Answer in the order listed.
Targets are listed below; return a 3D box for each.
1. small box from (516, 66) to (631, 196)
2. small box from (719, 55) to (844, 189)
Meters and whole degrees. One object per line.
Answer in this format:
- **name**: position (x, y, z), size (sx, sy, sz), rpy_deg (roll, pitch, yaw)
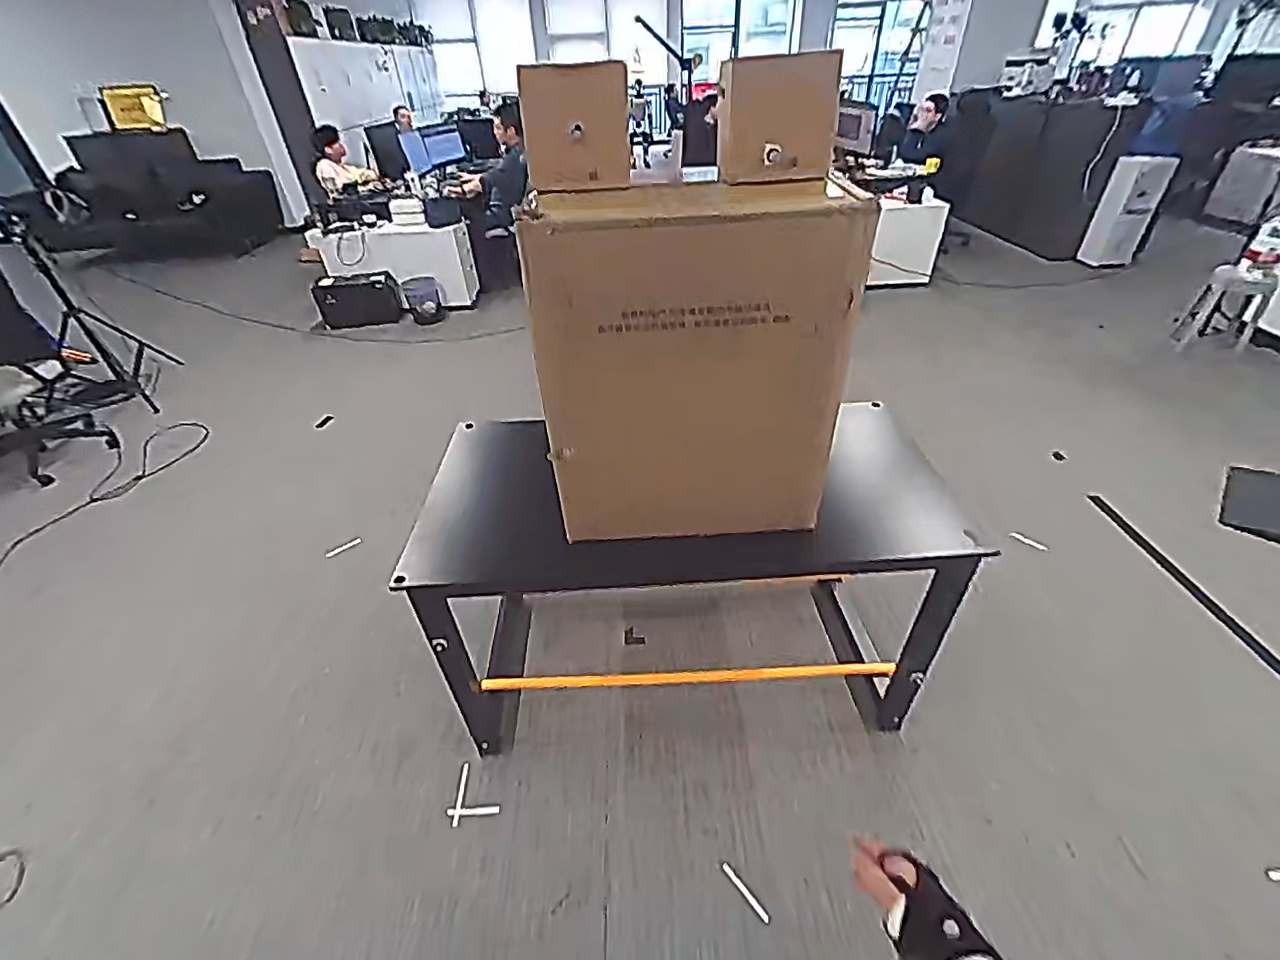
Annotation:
- **small box**: position (-0.106, -0.580, 0.903), size (0.168, 0.176, 0.179), rpy_deg (-5, 37, -4)
- **small box**: position (0.221, -0.591, 0.898), size (0.168, 0.176, 0.179), rpy_deg (-3, 37, 3)
